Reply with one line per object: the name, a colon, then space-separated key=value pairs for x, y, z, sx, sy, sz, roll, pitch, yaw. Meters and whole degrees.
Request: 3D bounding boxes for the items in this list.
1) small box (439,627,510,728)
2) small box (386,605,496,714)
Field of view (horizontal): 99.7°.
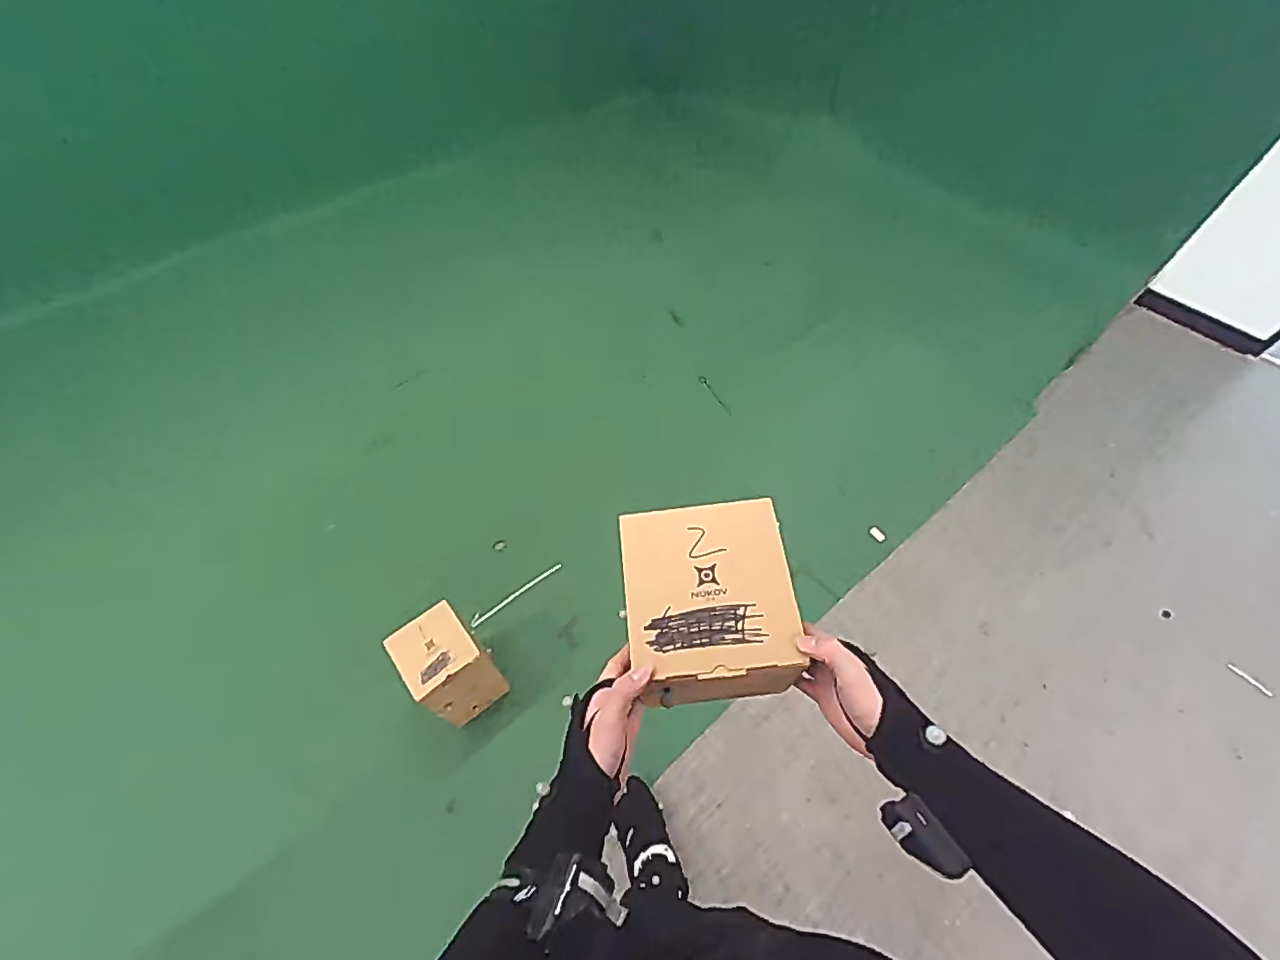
small box: x=-0.472 y=0.531 z=1.444 sx=0.168 sy=0.176 sz=0.179 roll=-35 pitch=63 yaw=-21
small box: x=-0.473 y=0.440 z=1.308 sx=0.168 sy=0.176 sz=0.179 roll=-34 pitch=62 yaw=-21
